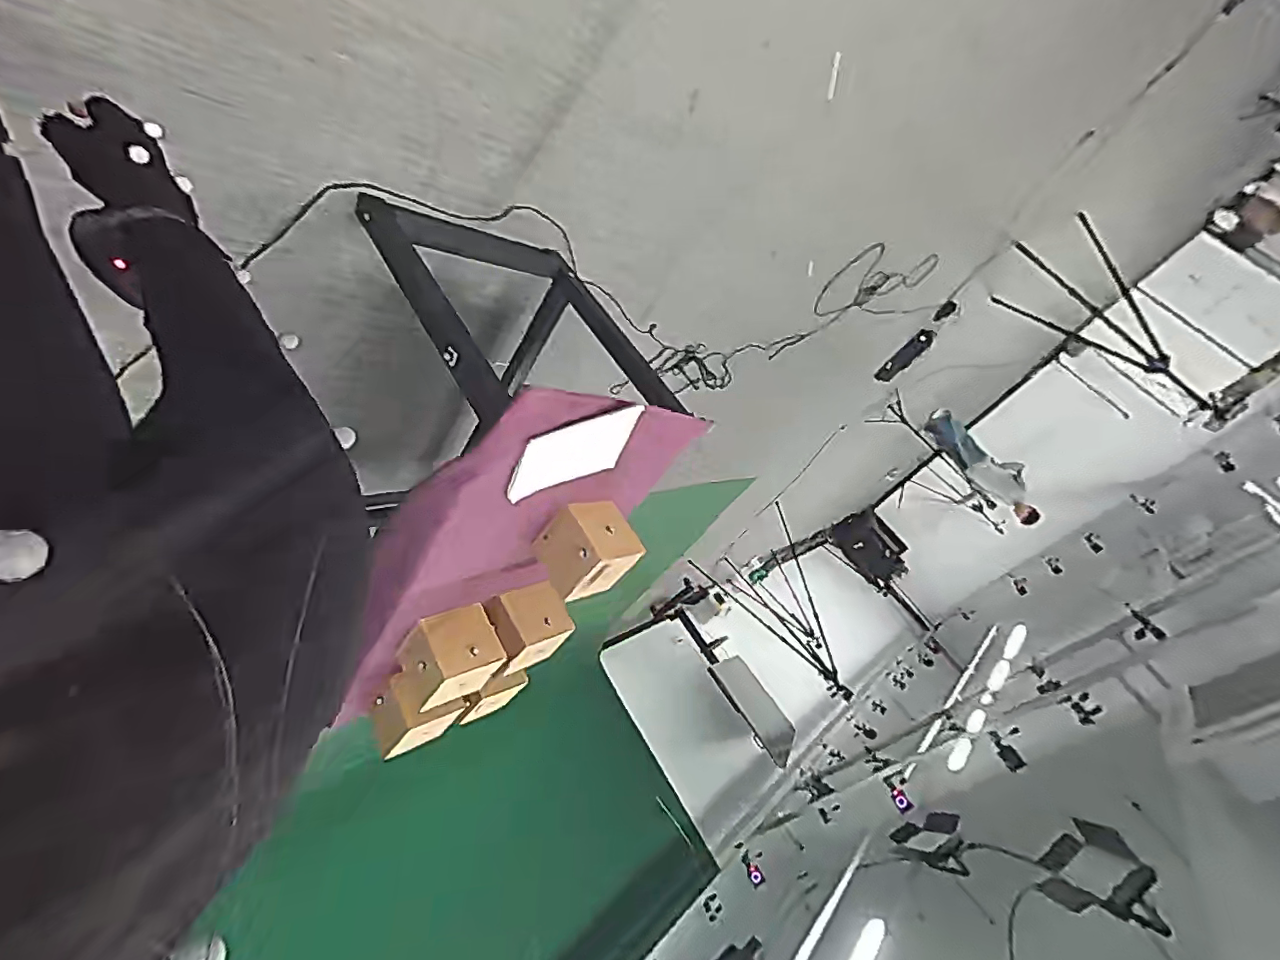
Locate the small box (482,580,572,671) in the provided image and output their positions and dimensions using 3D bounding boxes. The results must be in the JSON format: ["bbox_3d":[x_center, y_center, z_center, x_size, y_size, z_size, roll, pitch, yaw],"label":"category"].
[{"bbox_3d":[-0.331,0.403,1.532,0.179,0.176,0.168,-6,144,-50],"label":"small box"}]

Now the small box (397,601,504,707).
[{"bbox_3d":[-0.485,0.434,1.371,0.179,0.176,0.168,-4,141,-52],"label":"small box"}]

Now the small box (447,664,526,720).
[{"bbox_3d":[-0.500,0.609,1.696,0.168,0.176,0.179,-49,155,27],"label":"small box"}]
